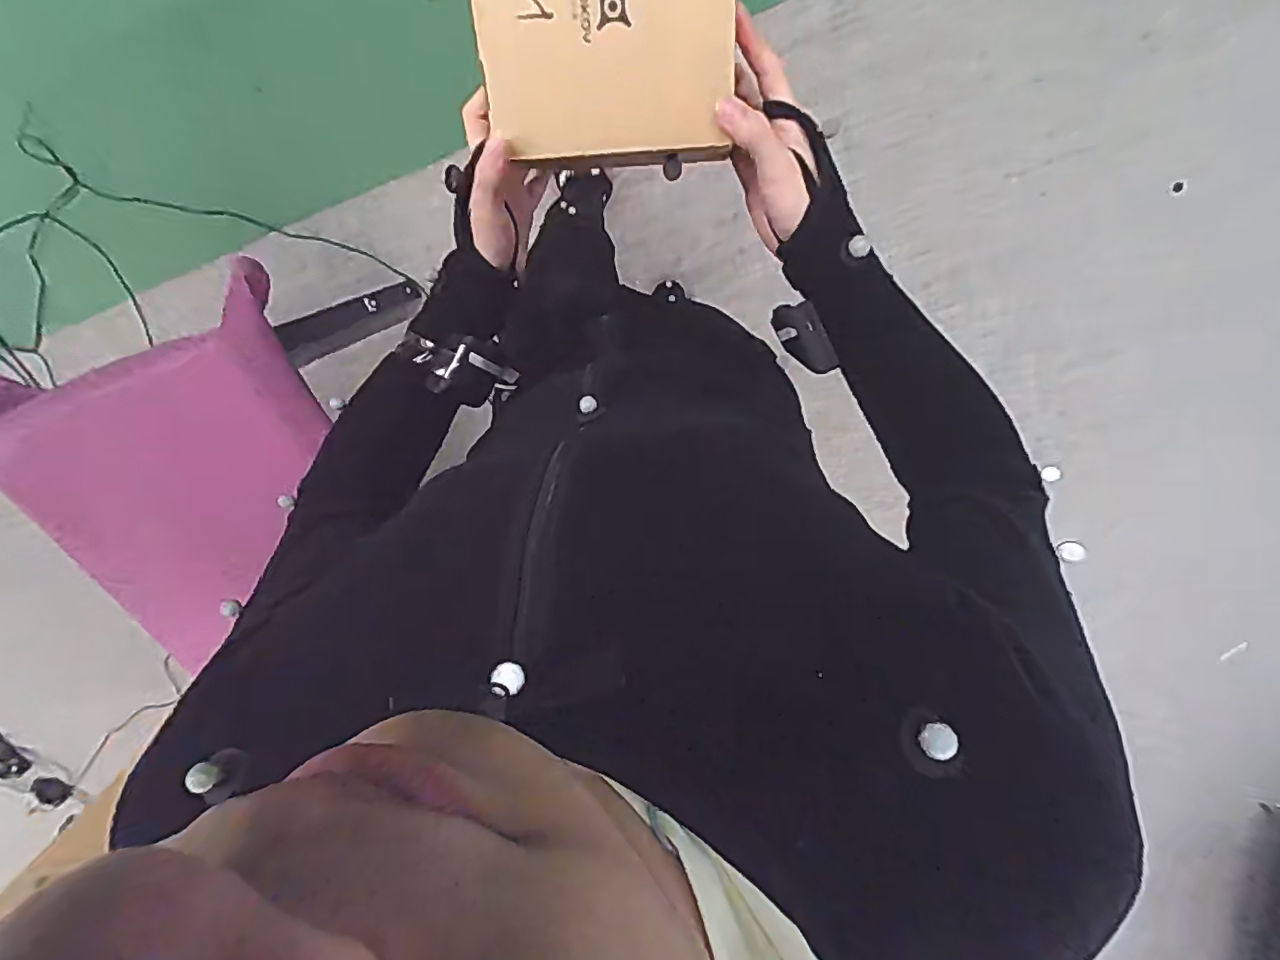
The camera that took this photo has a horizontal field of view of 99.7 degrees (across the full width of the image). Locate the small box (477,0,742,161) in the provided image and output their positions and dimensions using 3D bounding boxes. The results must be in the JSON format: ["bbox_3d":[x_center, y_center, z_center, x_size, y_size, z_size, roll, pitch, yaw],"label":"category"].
[{"bbox_3d":[-0.013,-0.349,0.418,0.179,0.176,0.168,1,117,8],"label":"small box"}]

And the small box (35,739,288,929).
[{"bbox_3d":[-0.635,0.486,0.750,0.179,0.176,0.168,-13,115,11],"label":"small box"}]

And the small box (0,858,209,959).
[{"bbox_3d":[-0.650,0.561,0.604,0.168,0.176,0.179,-14,114,12],"label":"small box"}]
